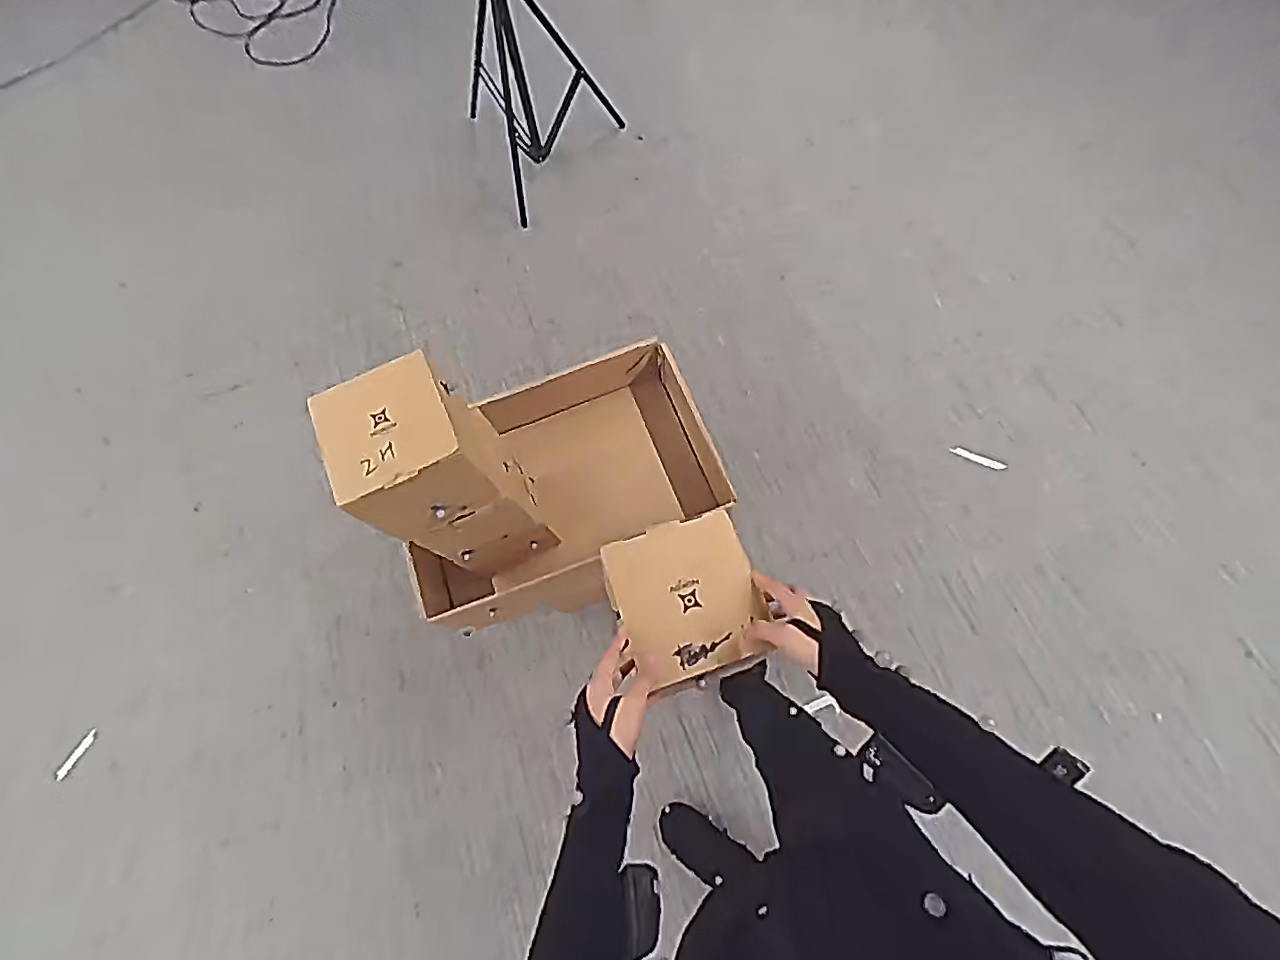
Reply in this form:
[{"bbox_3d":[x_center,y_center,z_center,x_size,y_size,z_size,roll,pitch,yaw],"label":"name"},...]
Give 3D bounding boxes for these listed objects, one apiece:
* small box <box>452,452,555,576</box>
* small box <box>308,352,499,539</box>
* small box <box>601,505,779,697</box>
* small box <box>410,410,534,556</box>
[{"bbox_3d":[-0.281,0.073,1.071,0.179,0.176,0.168,-26,71,-4],"label":"small box"},{"bbox_3d":[-0.324,-0.040,0.765,0.168,0.176,0.179,-26,70,-5],"label":"small box"},{"bbox_3d":[0.052,0.161,0.696,0.168,0.176,0.179,-16,64,-8],"label":"small box"},{"bbox_3d":[-0.297,0.016,0.918,0.168,0.176,0.179,-24,69,-5],"label":"small box"}]
